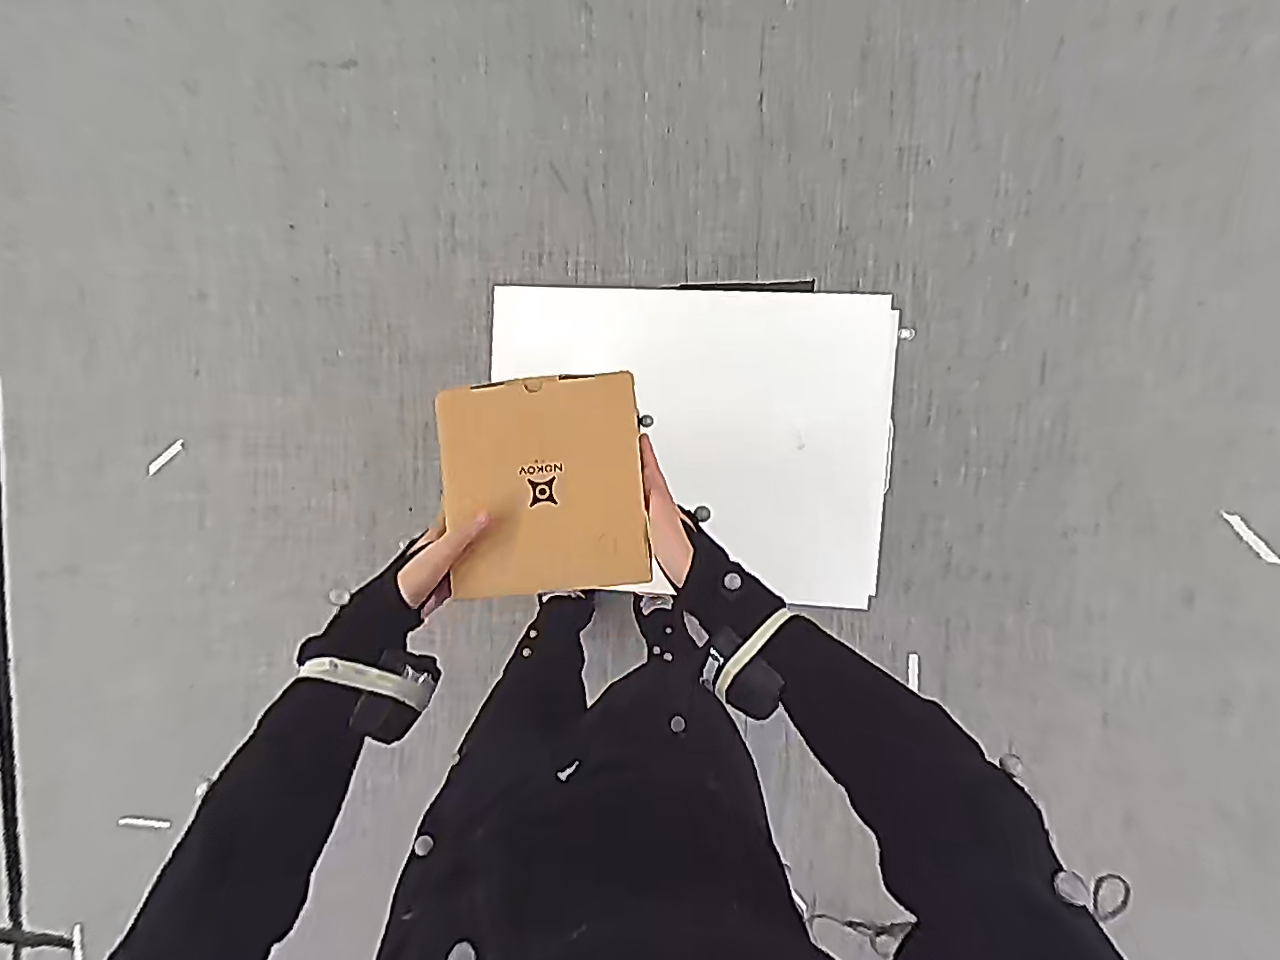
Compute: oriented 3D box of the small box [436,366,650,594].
[{"bbox_3d":[-0.077,-0.001,0.518,0.168,0.176,0.179,-5,90,-1],"label":"small box"}]
